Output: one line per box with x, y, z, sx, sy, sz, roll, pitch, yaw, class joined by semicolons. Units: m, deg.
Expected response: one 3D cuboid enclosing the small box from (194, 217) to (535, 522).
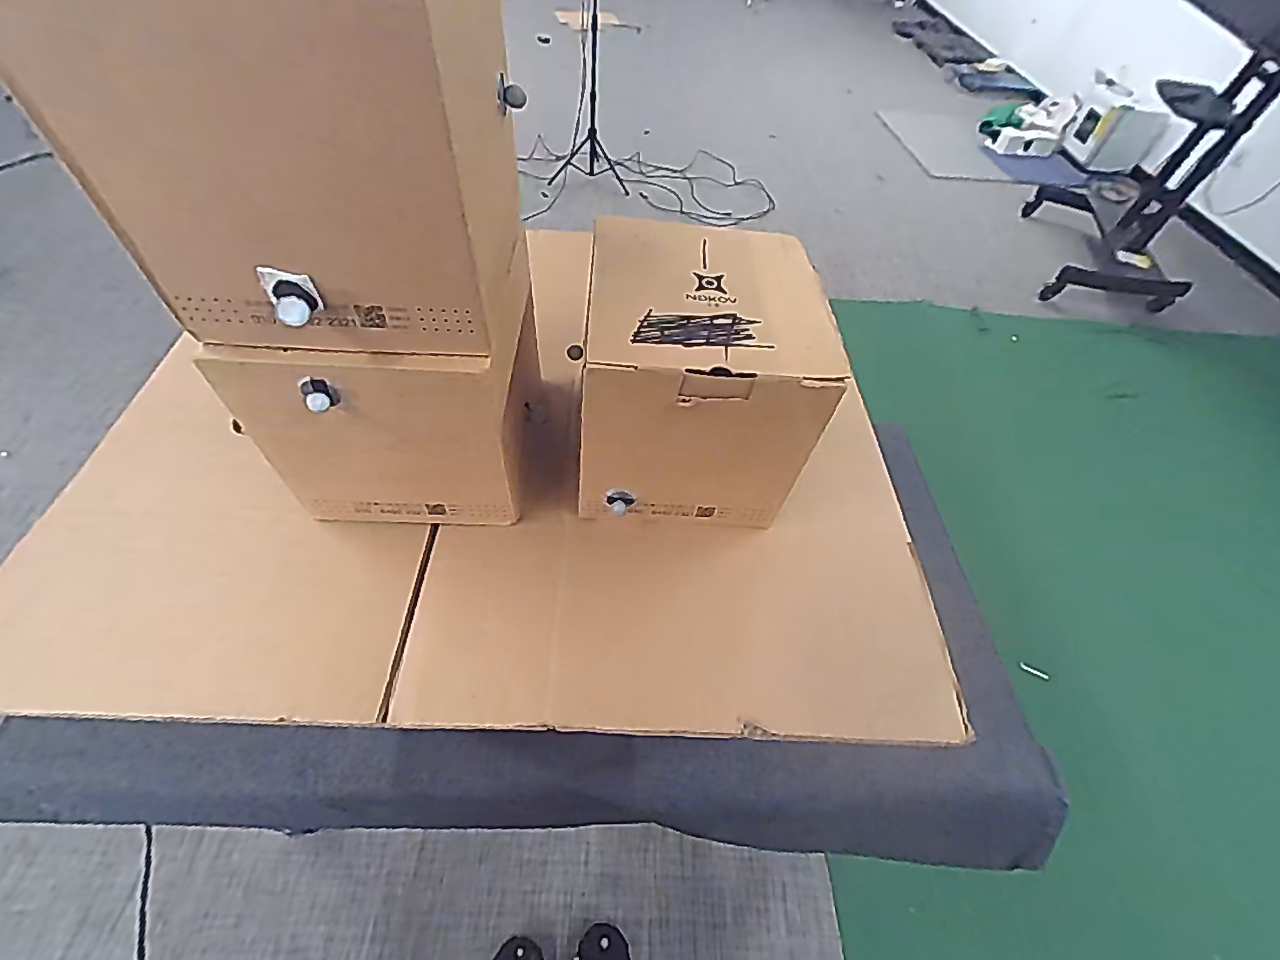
-0.178;-0.088;0.423;0.168;0.176;0.179;2;53;-2;small box

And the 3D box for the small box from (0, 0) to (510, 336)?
-0.166;-0.201;0.286;0.168;0.176;0.179;0;55;-5;small box
